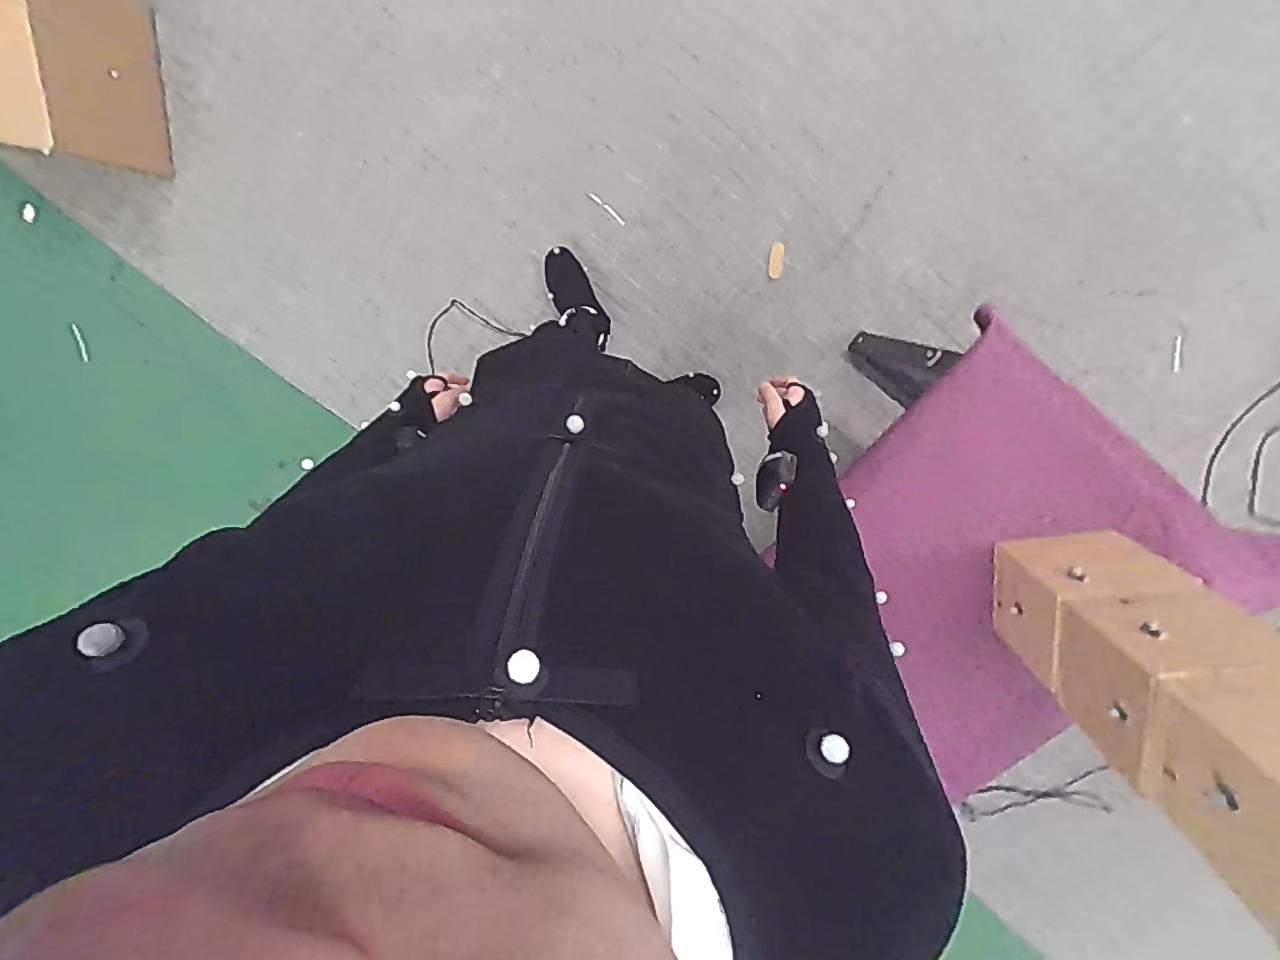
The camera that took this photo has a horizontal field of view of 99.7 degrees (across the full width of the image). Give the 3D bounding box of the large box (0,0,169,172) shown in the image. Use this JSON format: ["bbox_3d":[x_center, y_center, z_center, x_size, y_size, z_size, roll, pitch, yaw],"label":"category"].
[{"bbox_3d":[-1.436,-1.004,1.292,0.320,0.320,0.408,9,110,3],"label":"large box"}]

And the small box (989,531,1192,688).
[{"bbox_3d":[0.664,0.190,0.825,0.179,0.176,0.168,-8,109,8],"label":"small box"}]

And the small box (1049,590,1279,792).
[{"bbox_3d":[0.650,0.250,0.674,0.168,0.176,0.179,-7,108,9],"label":"small box"}]

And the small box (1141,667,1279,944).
[{"bbox_3d":[0.640,0.300,0.521,0.179,0.176,0.168,-9,107,9],"label":"small box"}]
